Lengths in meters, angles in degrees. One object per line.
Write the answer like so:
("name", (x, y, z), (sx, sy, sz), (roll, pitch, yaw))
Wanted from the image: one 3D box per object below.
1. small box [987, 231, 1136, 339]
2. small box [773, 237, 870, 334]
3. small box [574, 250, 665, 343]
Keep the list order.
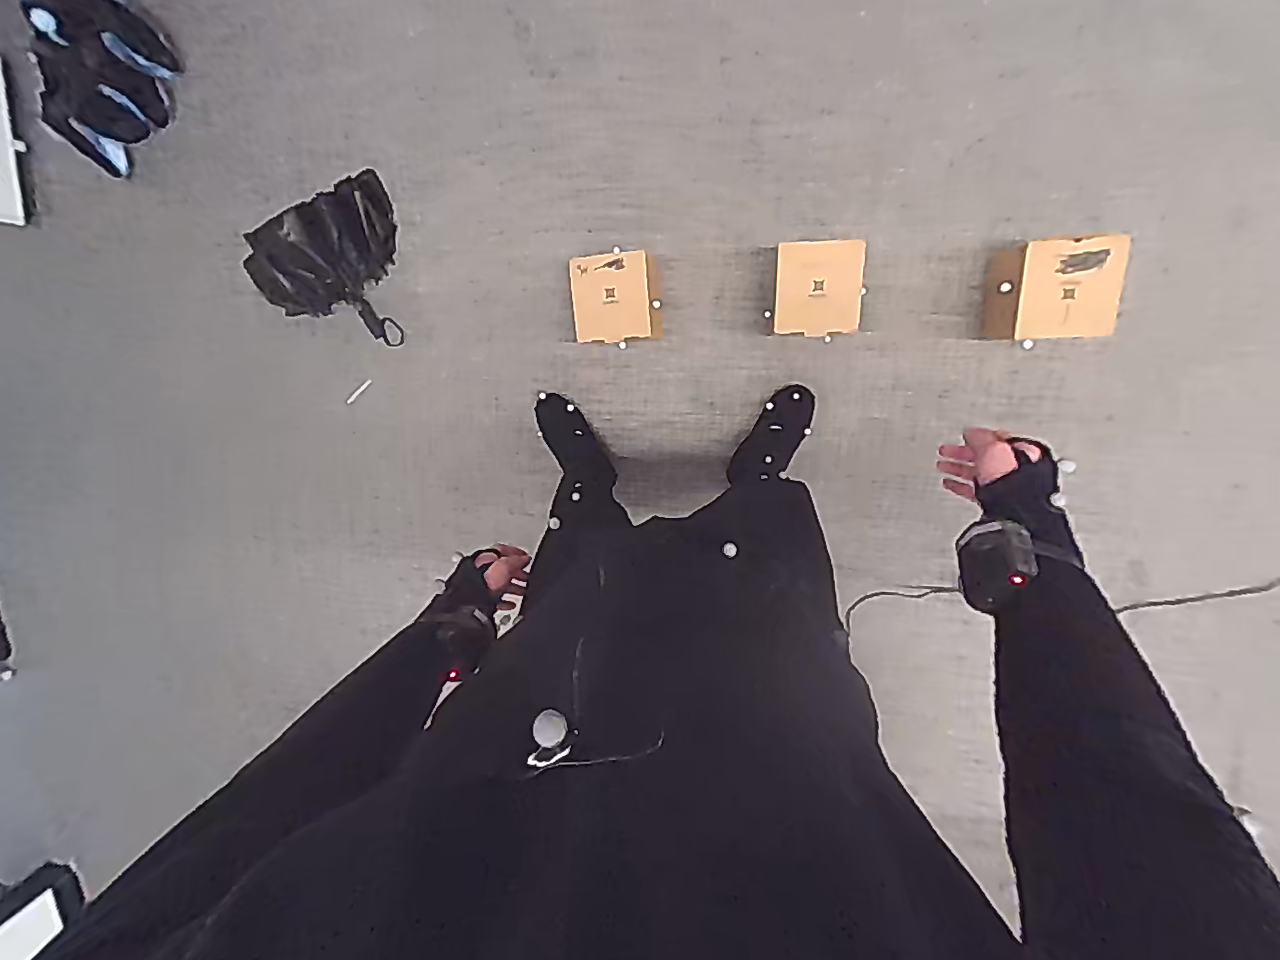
("small box", (0.803, -0.369, 1.052), (0.168, 0.176, 0.179), (1, 104, 12))
("small box", (0.371, -0.398, 1.133), (0.168, 0.176, 0.179), (1, 103, 9))
("small box", (-0.038, -0.403, 1.207), (0.168, 0.176, 0.179), (-2, 104, 10))
